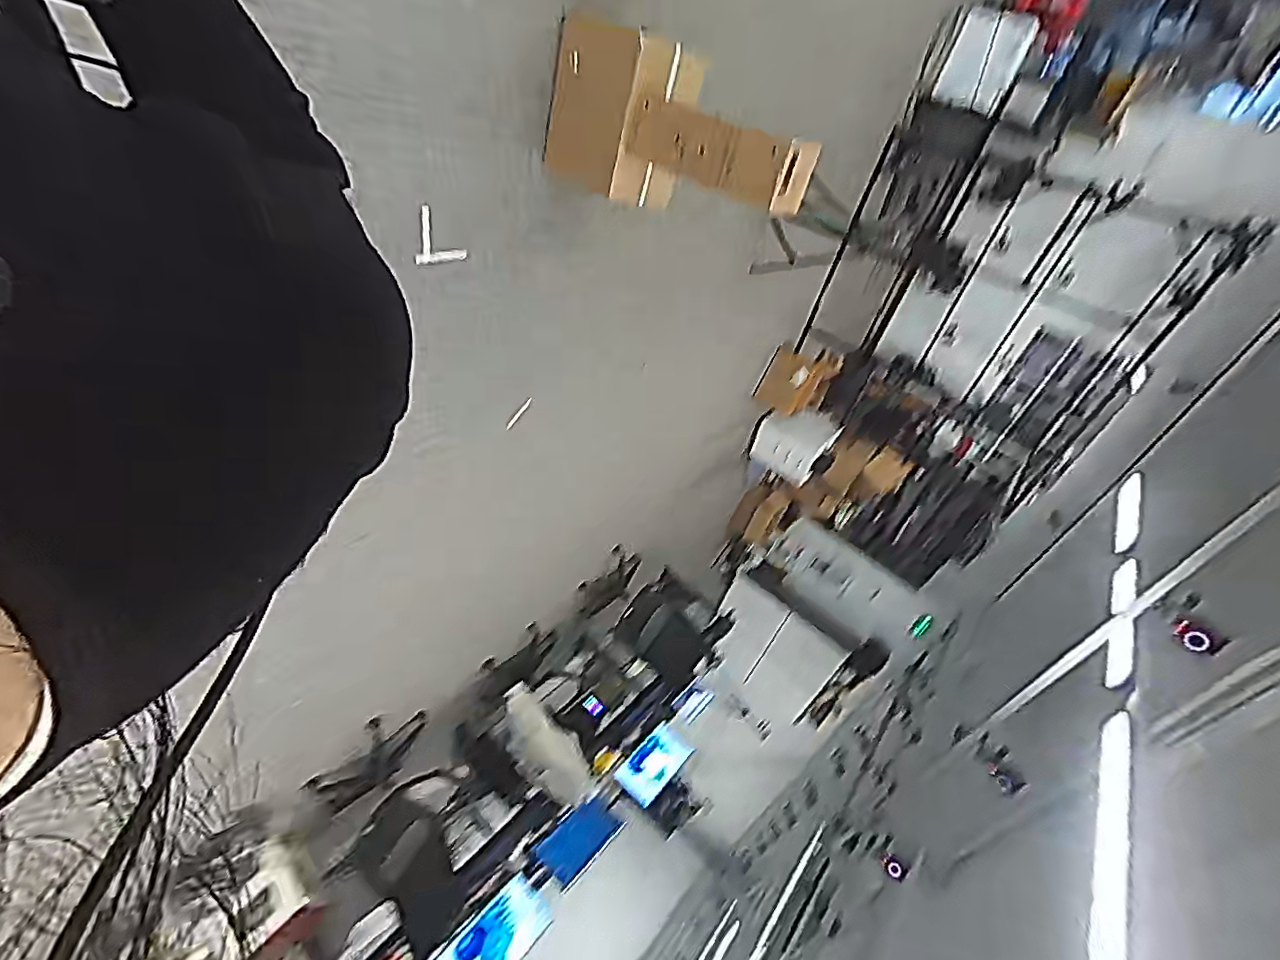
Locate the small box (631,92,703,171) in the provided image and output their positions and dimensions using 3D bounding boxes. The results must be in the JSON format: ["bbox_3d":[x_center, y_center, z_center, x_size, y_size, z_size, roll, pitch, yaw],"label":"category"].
[{"bbox_3d":[0.100,-0.989,1.554,0.179,0.176,0.168,-24,142,-48],"label":"small box"}]

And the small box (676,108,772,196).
[{"bbox_3d":[0.226,-0.904,1.493,0.179,0.176,0.168,-25,143,-45],"label":"small box"}]
